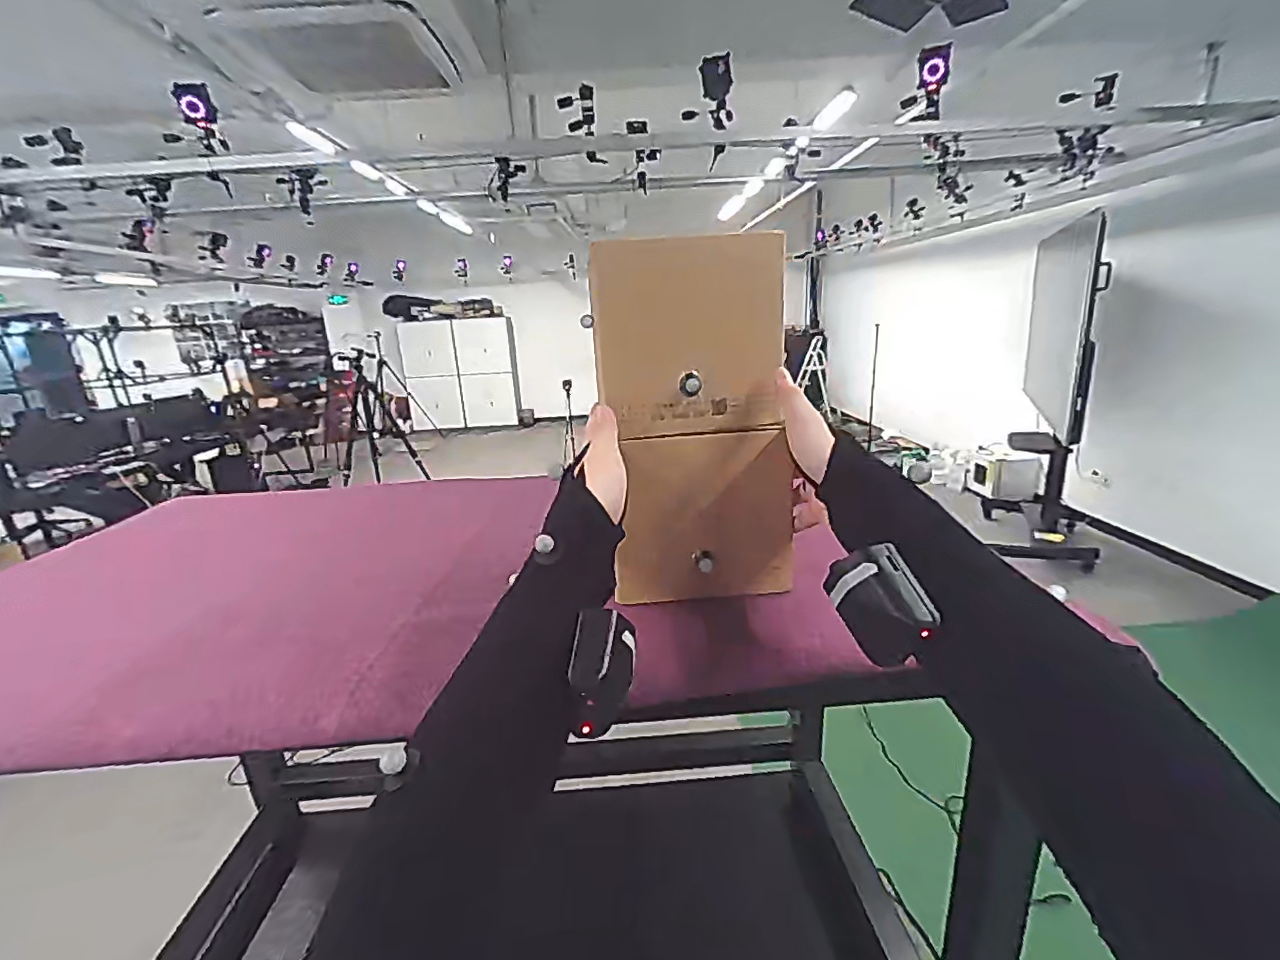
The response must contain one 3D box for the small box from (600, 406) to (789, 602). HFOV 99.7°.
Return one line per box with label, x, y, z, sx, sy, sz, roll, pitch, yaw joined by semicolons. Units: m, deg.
small box;0.051;0.018;0.584;0.179;0.176;0.168;-4;14;-2
